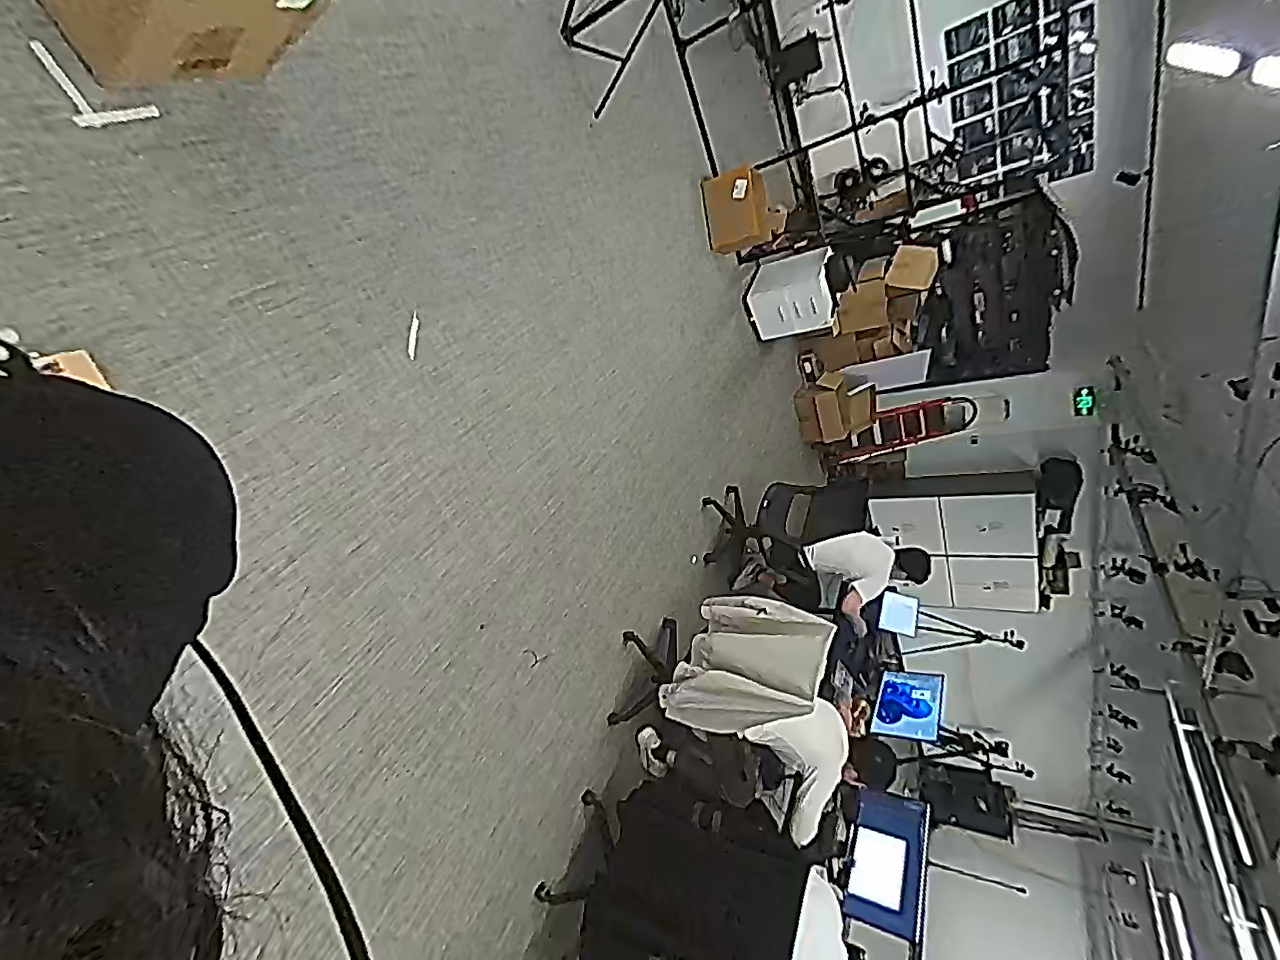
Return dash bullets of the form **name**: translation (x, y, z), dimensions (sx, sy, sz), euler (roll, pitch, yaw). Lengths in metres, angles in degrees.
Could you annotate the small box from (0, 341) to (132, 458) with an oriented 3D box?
- **small box**: translation (-1.130, -0.148, 1.025), dimensions (0.168, 0.176, 0.179), euler (-42, 121, -50)
